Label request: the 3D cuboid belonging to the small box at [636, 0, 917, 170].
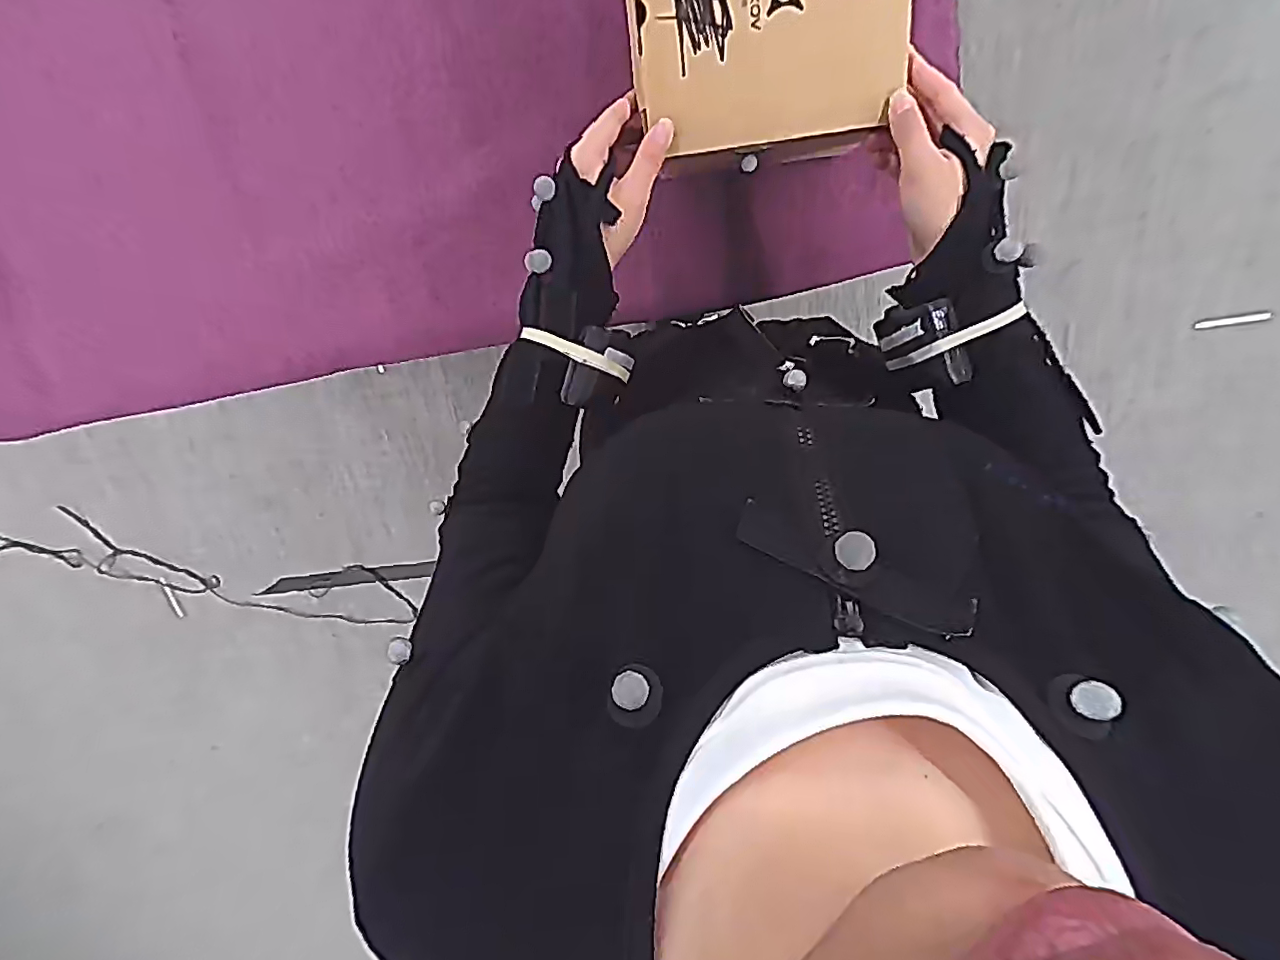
[{"bbox_3d":[0.091,-0.344,0.408,0.179,0.176,0.168,-4,115,7],"label":"small box"}]
